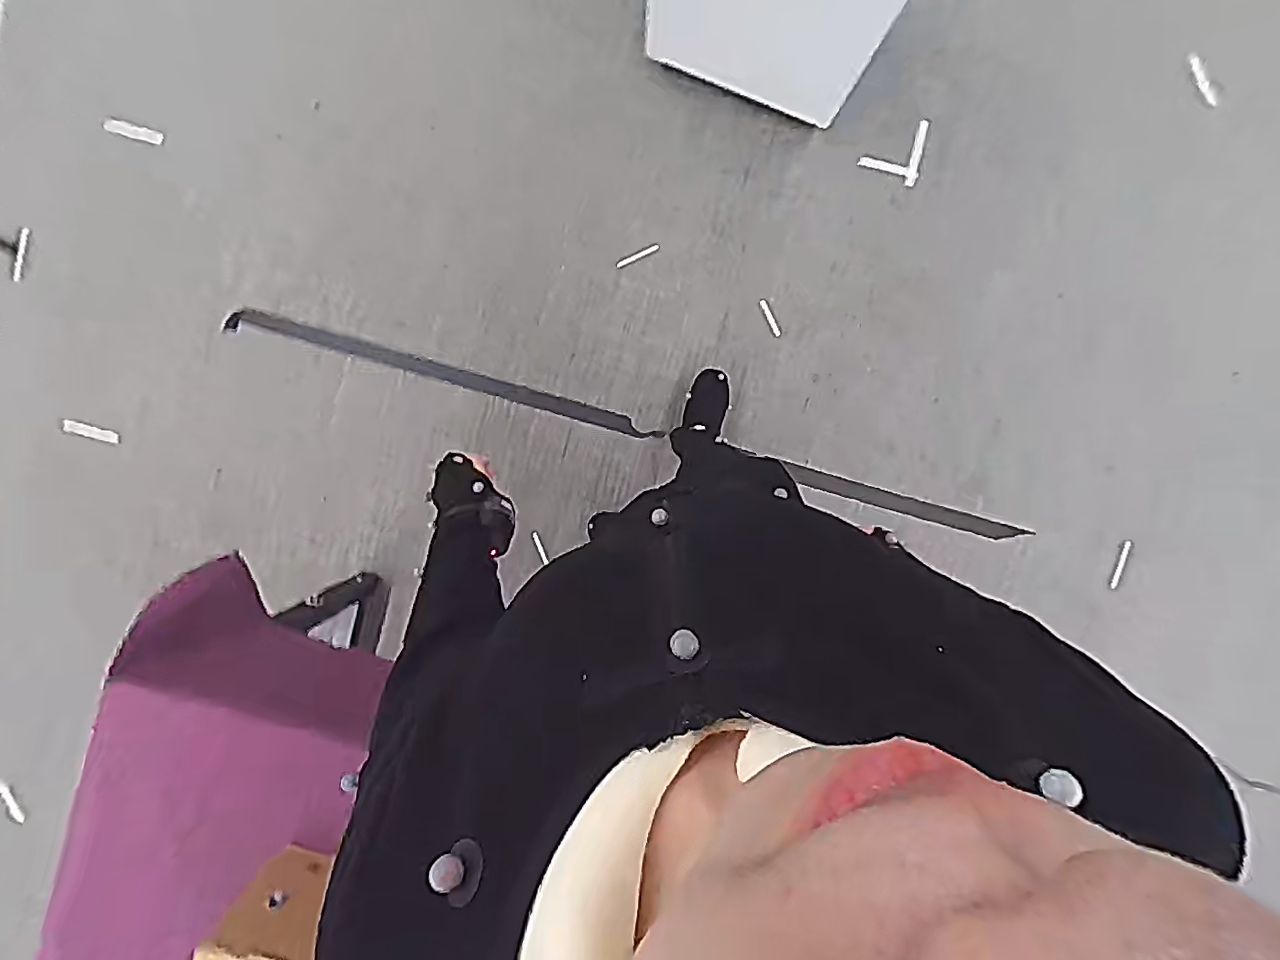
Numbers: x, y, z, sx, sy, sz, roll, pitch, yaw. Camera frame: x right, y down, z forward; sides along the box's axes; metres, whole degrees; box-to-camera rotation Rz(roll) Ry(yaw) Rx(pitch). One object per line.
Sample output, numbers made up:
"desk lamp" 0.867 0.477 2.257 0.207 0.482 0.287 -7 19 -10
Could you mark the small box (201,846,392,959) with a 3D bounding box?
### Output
"small box" -0.461 0.643 0.728 0.168 0.176 0.179 15 94 -2
